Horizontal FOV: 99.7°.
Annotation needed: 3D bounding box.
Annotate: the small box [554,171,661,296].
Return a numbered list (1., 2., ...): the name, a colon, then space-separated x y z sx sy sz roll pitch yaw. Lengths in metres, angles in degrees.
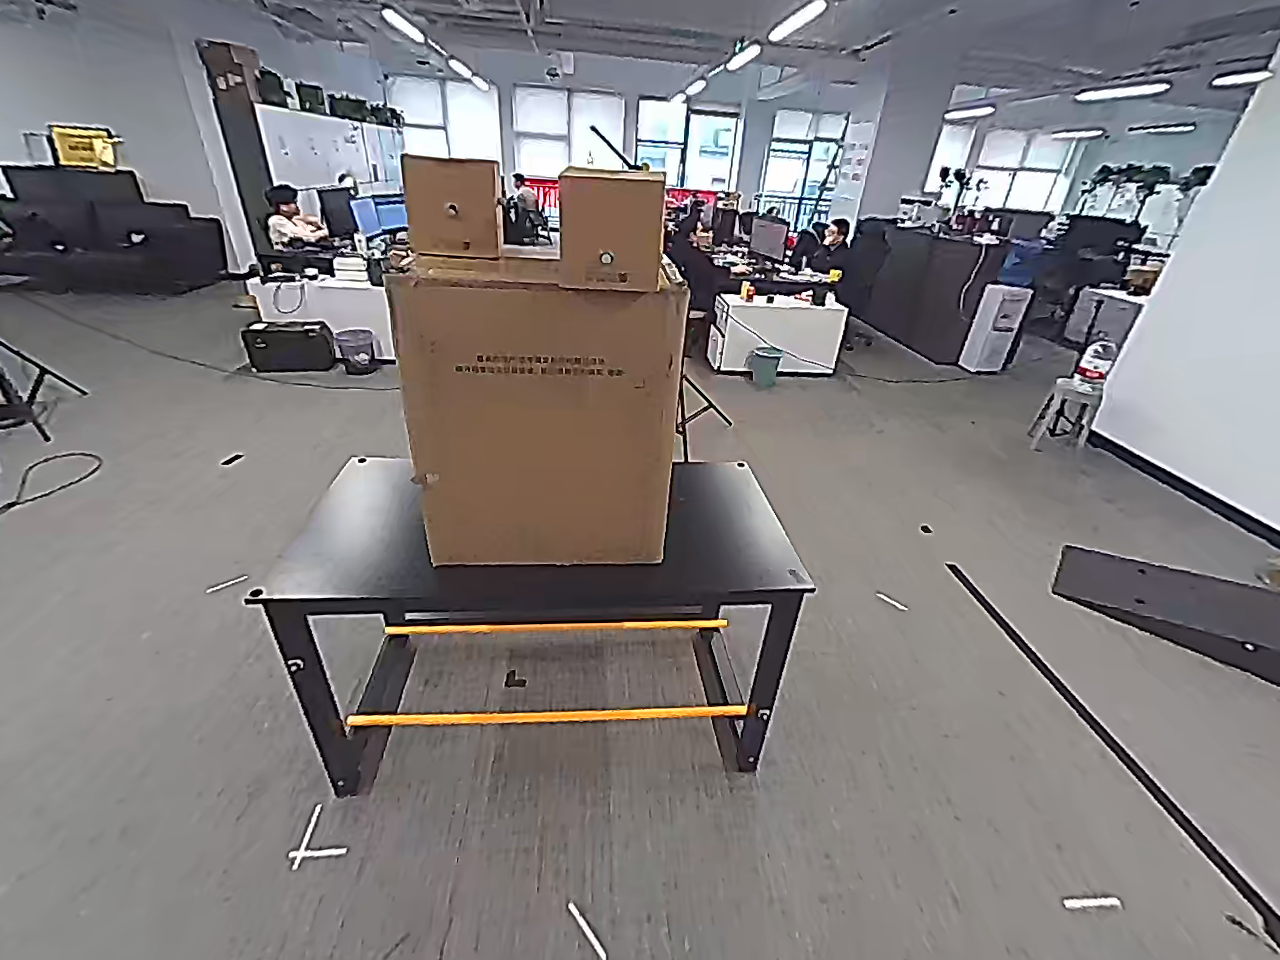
1. small box: -0.050 -0.424 0.926 0.168 0.176 0.179 1 34 0

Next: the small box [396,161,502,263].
1. small box: -0.368 -0.533 1.076 0.168 0.176 0.179 -2 30 -9
